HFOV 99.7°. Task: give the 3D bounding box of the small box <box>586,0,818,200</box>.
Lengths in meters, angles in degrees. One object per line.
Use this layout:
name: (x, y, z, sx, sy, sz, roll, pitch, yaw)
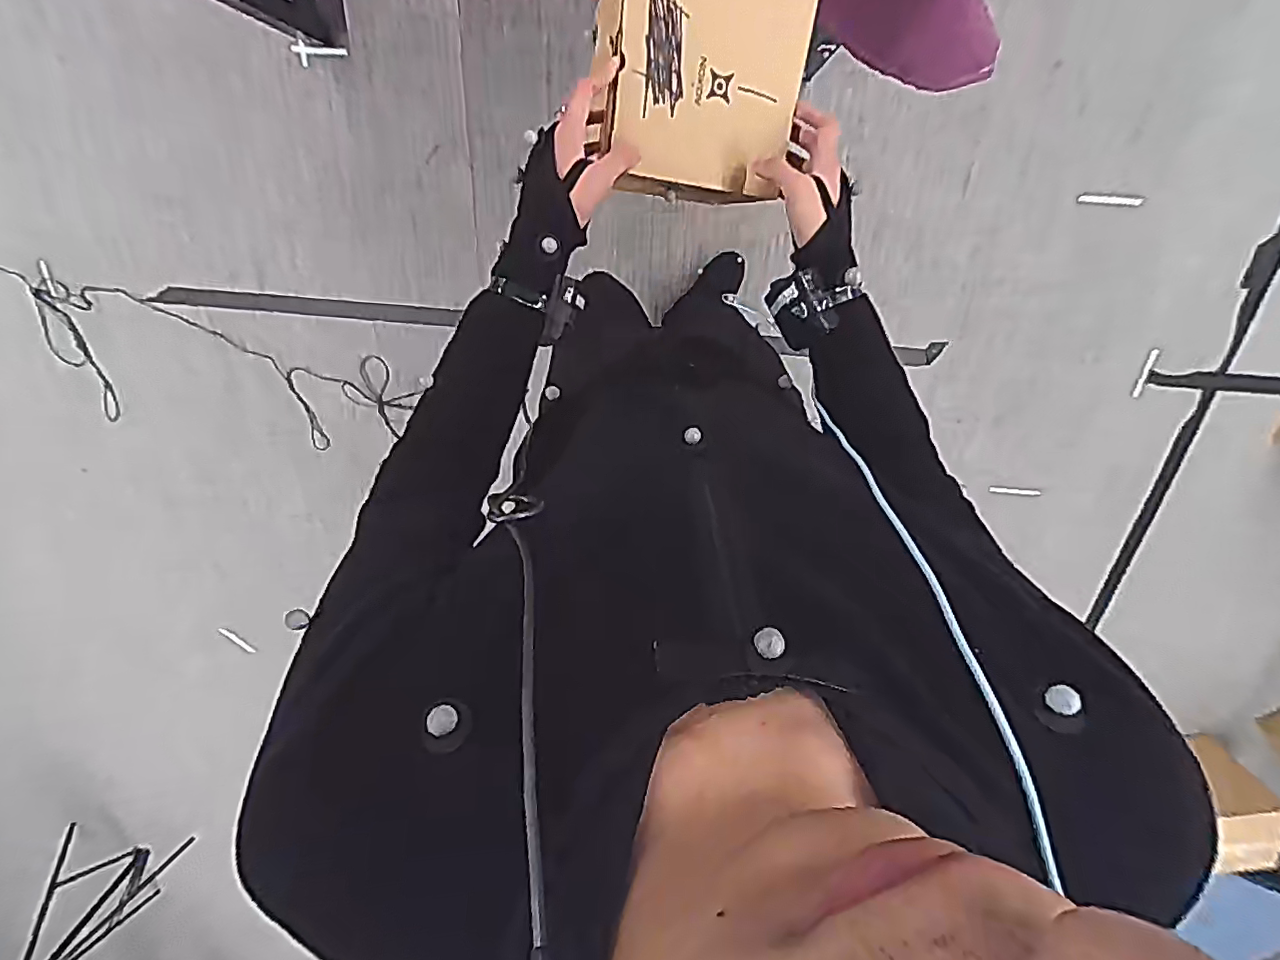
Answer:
small box: (0.045, -0.391, 0.552, 0.179, 0.176, 0.168, 1, 114, -16)
